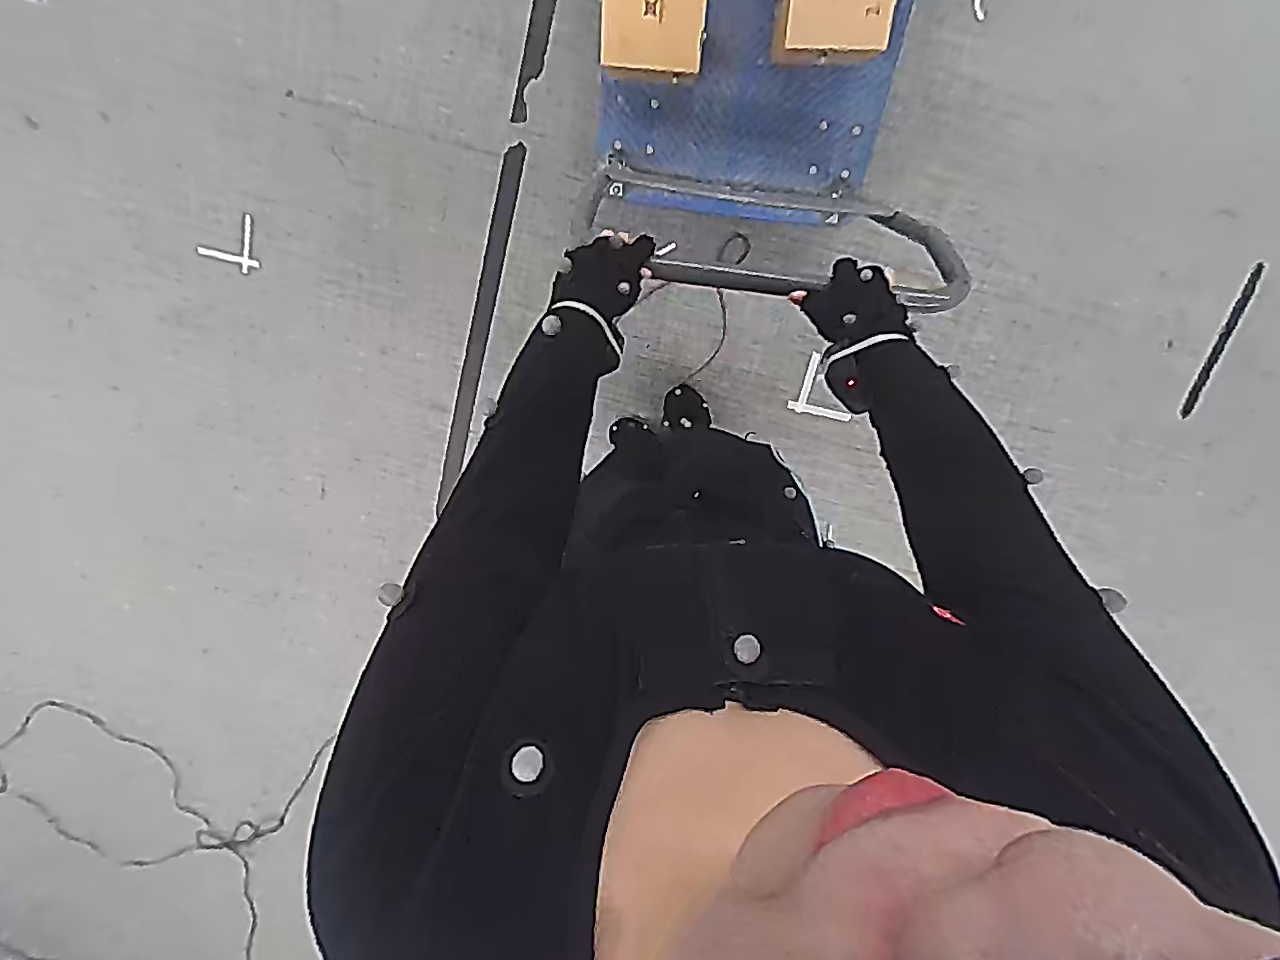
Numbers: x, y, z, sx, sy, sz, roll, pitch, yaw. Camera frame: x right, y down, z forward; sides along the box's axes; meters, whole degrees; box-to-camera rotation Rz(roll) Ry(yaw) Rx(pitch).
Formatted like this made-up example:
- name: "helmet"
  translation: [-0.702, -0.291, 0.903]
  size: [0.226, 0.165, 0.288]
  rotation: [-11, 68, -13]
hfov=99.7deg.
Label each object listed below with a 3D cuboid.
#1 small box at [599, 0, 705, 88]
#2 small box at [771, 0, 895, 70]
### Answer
- name: "small box"
  translation: [0.024, -0.824, 0.977]
  size: [0.179, 0.176, 0.168]
  rotation: [4, 120, -1]
- name: "small box"
  translation: [0.336, -0.836, 0.951]
  size: [0.179, 0.176, 0.168]
  rotation: [3, 120, 2]
